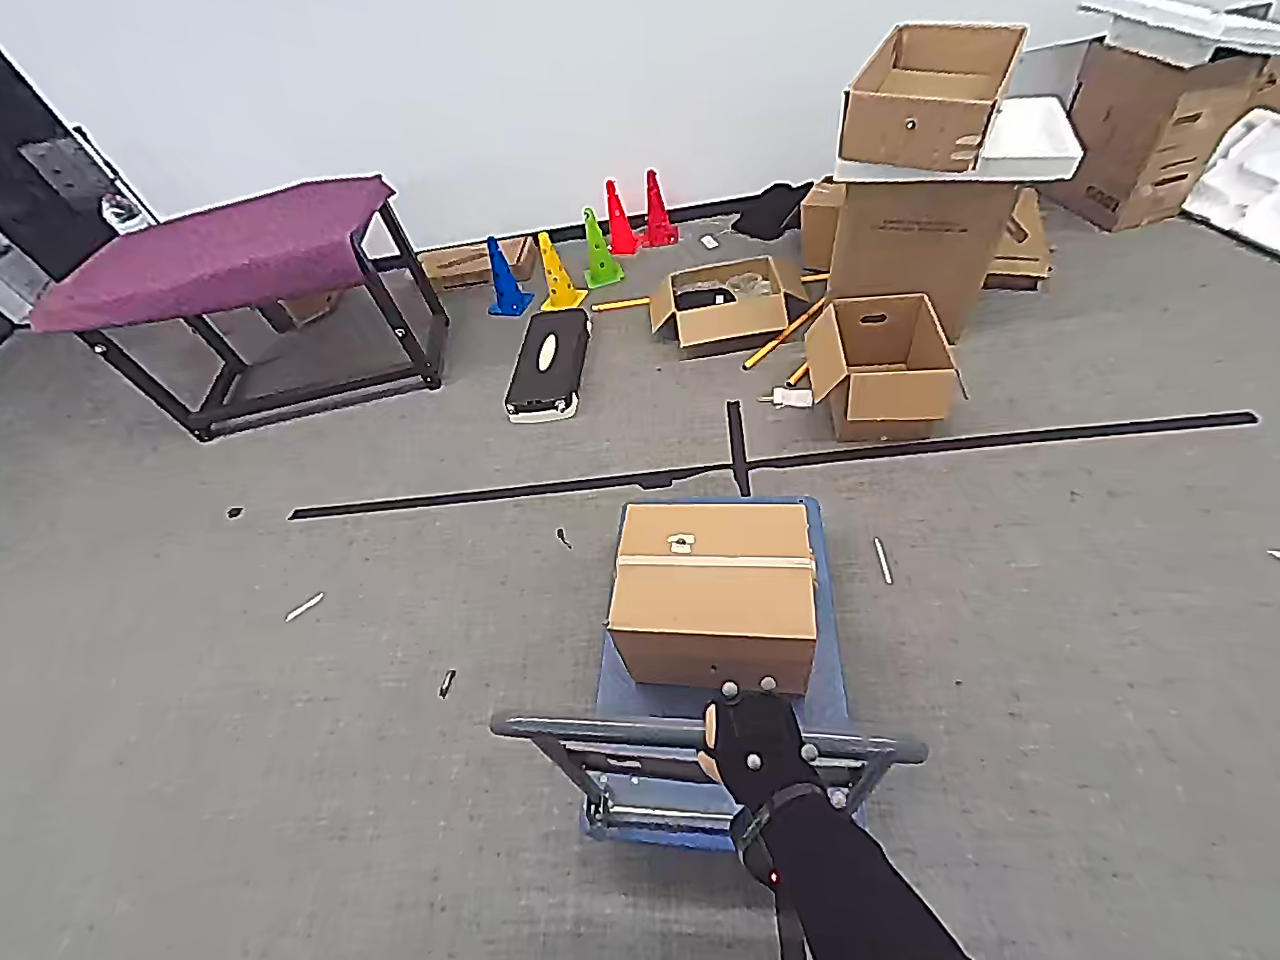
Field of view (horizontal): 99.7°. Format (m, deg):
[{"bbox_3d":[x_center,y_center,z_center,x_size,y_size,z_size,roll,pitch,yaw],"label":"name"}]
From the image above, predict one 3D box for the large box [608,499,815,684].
[{"bbox_3d":[0.172,0.262,1.240,0.408,0.320,0.320,-2,50,12],"label":"large box"}]
